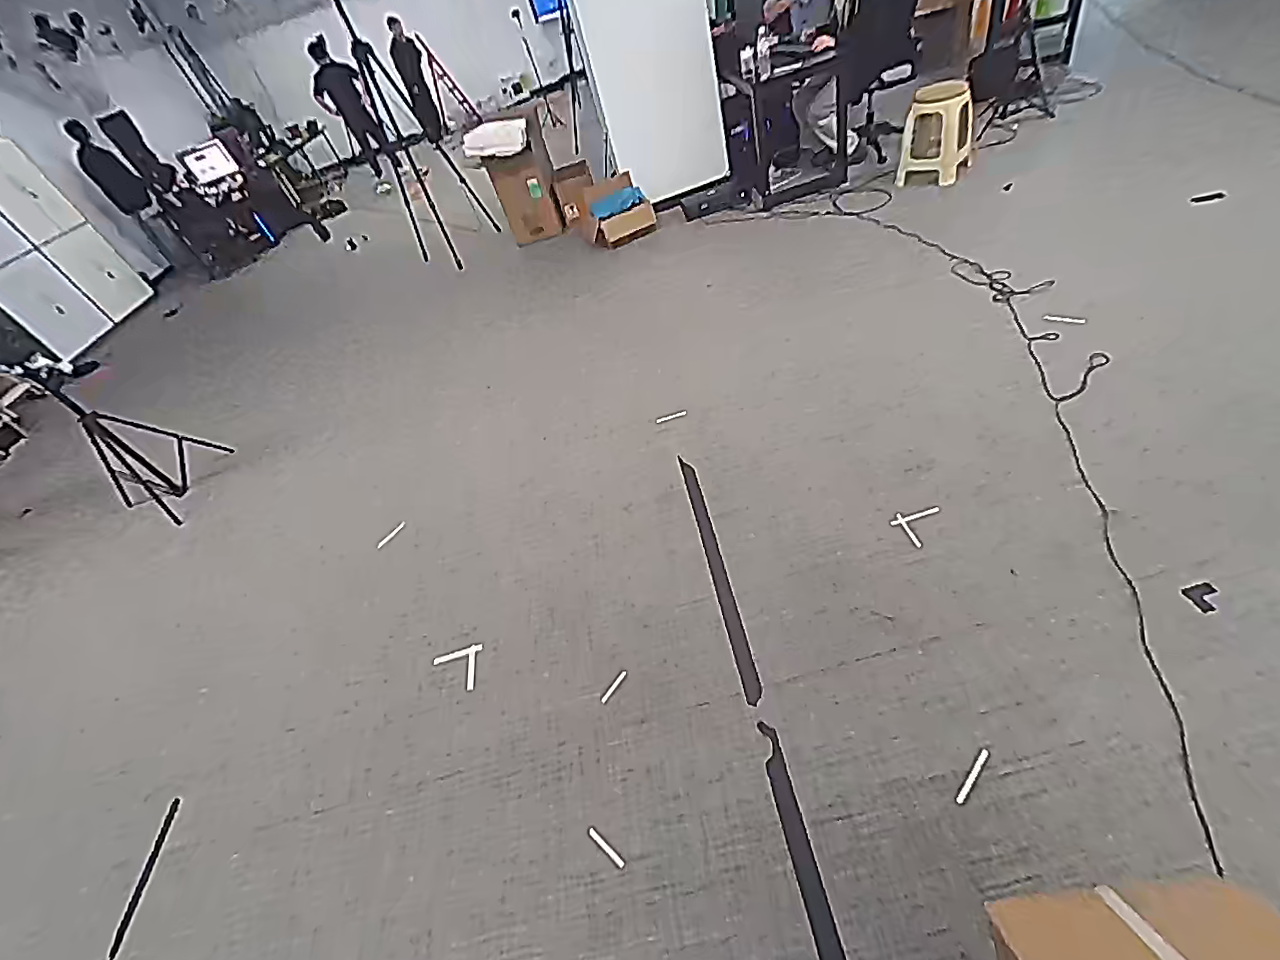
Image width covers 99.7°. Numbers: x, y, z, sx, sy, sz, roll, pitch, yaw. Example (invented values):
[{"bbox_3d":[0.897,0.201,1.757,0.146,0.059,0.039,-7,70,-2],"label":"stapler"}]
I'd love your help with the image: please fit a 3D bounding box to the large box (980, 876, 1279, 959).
[{"bbox_3d":[0.617,0.684,0.522,0.320,0.408,0.320,-15,84,9],"label":"large box"}]
